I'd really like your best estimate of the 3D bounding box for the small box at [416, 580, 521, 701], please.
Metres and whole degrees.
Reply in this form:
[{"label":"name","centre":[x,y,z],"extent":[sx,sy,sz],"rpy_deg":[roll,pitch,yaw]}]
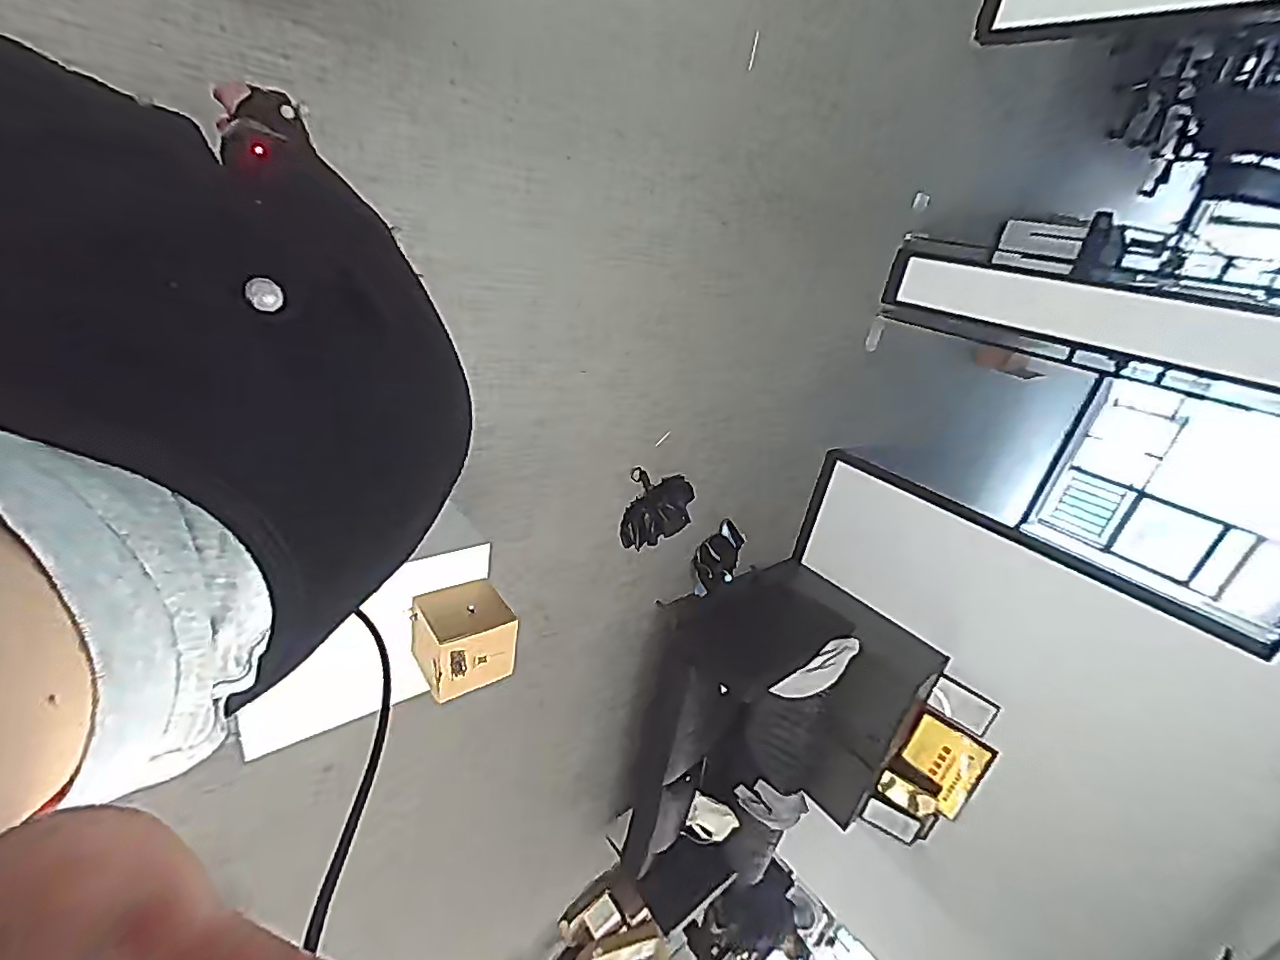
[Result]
[{"label":"small box","centre":[-0.392,0.352,1.218],"extent":[0.179,0.176,0.168],"rpy_deg":[-11,123,-40]}]
